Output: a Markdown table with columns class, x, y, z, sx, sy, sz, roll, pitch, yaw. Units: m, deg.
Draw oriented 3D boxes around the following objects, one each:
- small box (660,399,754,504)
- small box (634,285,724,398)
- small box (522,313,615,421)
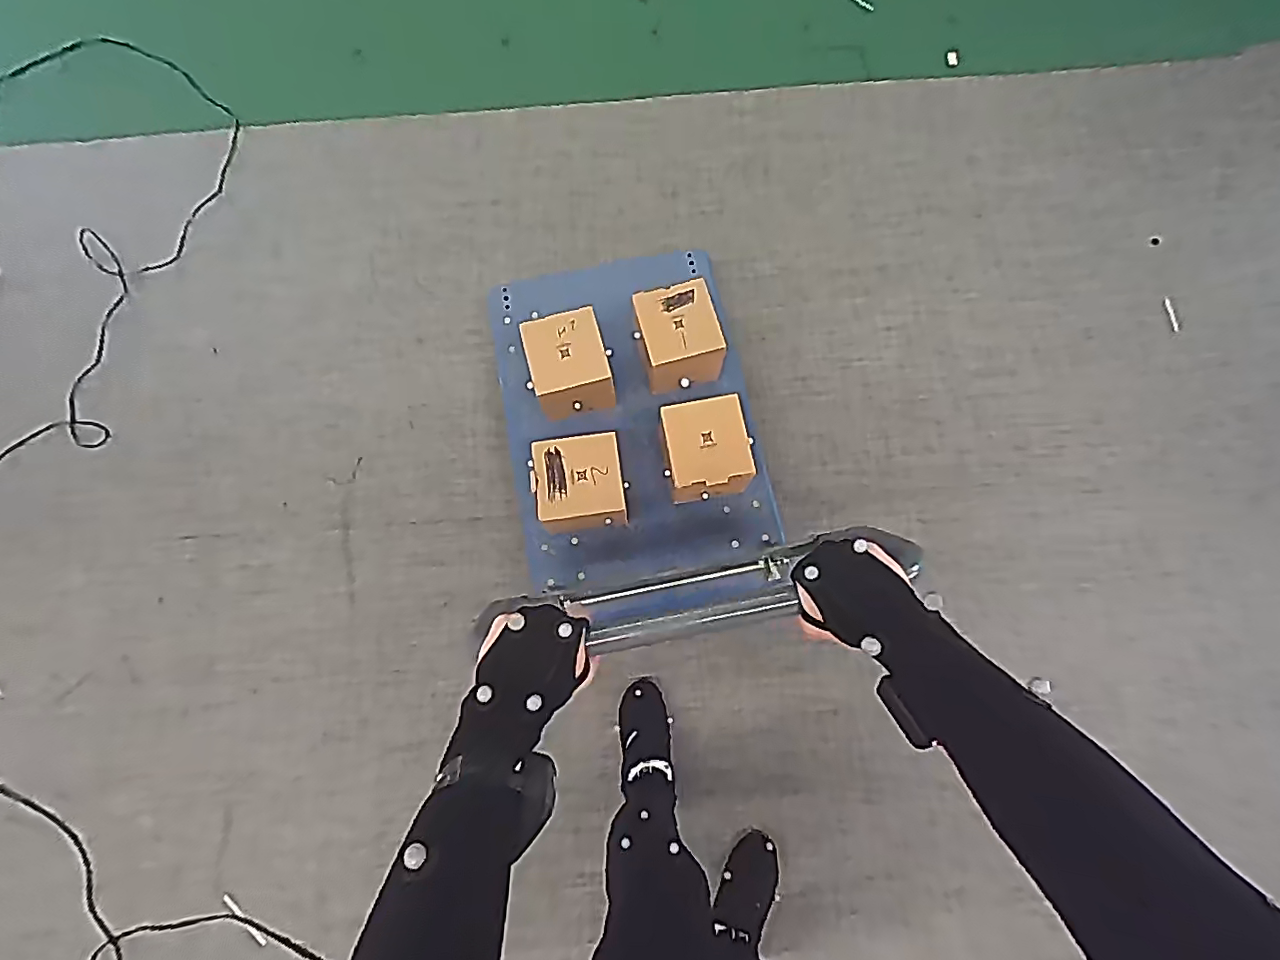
| class | x | y | z | sx | sy | sz | roll | pitch | yaw |
| --- | --- | --- | --- | --- | --- | --- | --- | --- | --- |
| small box | 0.139 | -0.058 | 1.196 | 0.168 | 0.176 | 0.179 | -10 | 77 | -2 |
| small box | 0.085 | -0.316 | 1.258 | 0.168 | 0.176 | 0.179 | -15 | 78 | -2 |
| small box | -0.158 | -0.249 | 1.246 | 0.168 | 0.176 | 0.179 | -15 | 77 | -3 |
